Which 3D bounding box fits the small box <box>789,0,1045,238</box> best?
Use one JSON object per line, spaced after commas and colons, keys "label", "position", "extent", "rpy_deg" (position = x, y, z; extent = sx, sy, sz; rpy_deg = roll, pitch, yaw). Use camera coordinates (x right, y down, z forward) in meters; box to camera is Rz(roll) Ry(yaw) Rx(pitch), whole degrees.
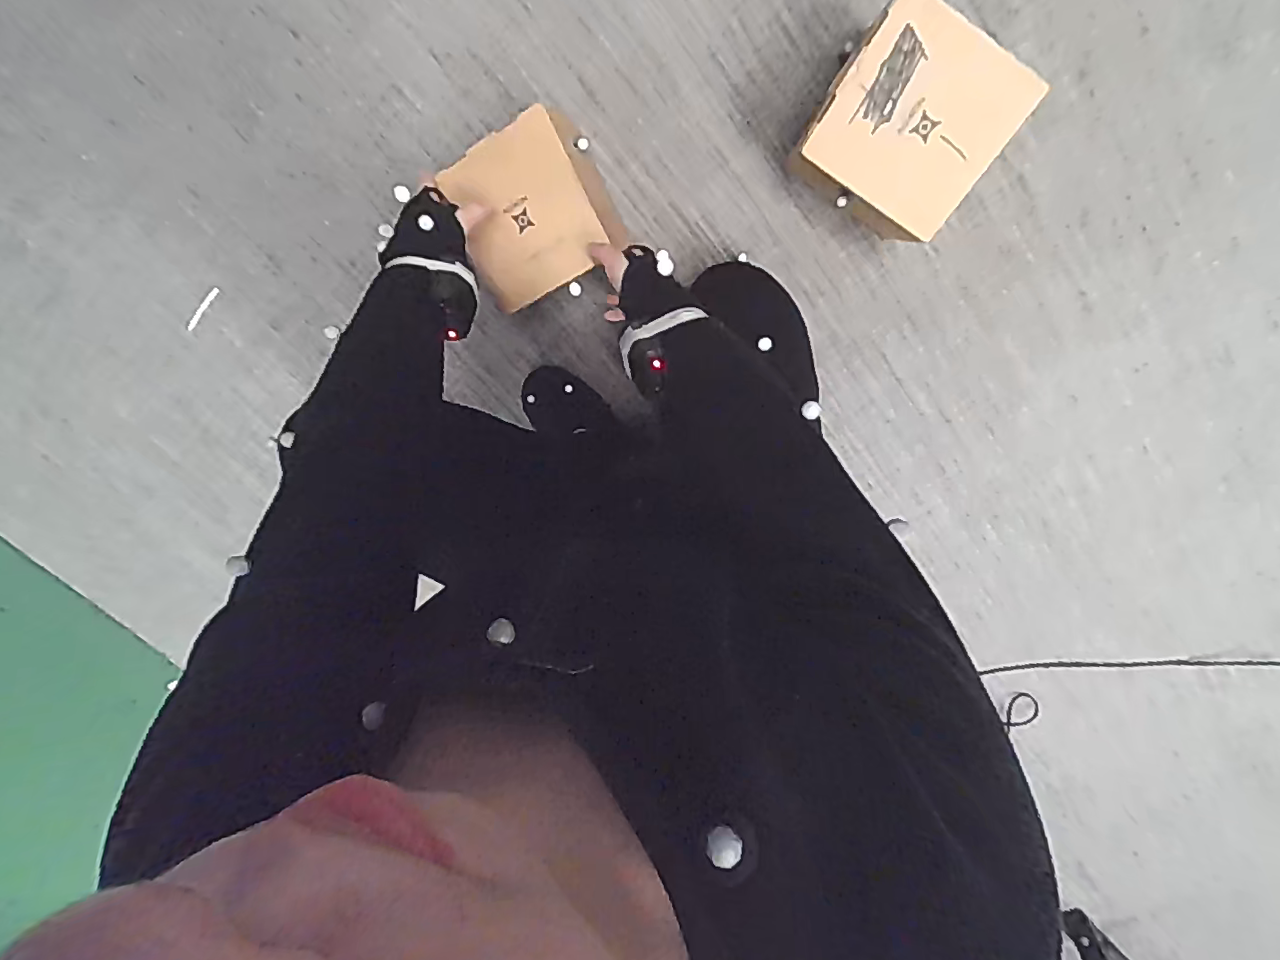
{"label": "small box", "position": [0.292, -0.401, 0.620], "extent": [0.179, 0.176, 0.168], "rpy_deg": [31, 116, -7]}
